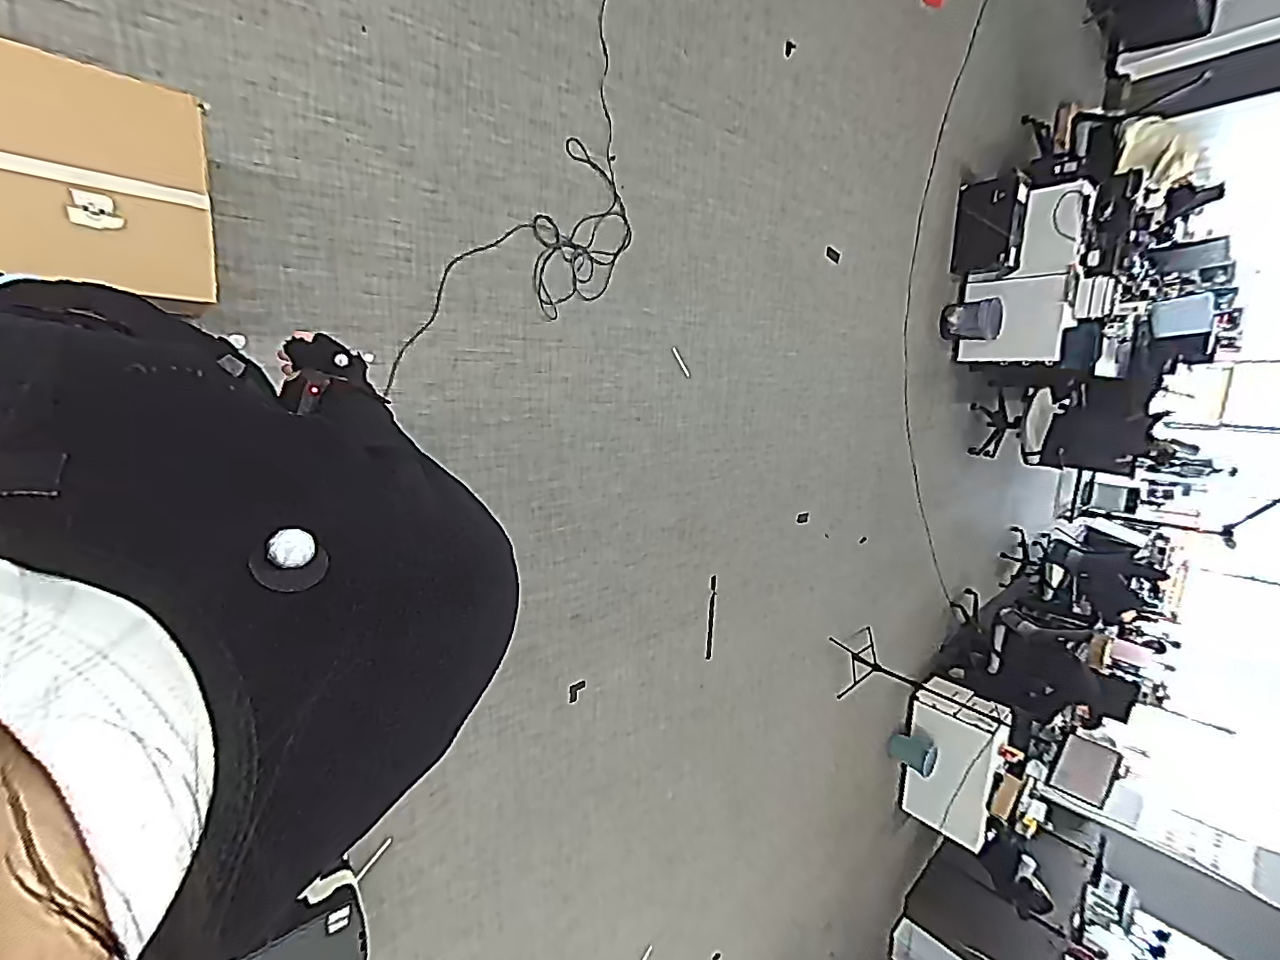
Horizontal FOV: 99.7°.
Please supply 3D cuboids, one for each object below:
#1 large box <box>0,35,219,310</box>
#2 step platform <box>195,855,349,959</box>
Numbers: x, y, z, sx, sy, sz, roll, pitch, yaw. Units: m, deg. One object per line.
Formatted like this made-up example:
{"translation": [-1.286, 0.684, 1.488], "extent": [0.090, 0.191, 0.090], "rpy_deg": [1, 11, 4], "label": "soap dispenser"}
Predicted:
{"translation": [-0.949, -0.463, 0.858], "extent": [0.408, 0.320, 0.320], "rpy_deg": [-5, 103, -42], "label": "large box"}
{"translation": [-1.037, 1.186, 1.206], "extent": [0.684, 0.204, 0.286], "rpy_deg": [-10, 105, -39], "label": "step platform"}
